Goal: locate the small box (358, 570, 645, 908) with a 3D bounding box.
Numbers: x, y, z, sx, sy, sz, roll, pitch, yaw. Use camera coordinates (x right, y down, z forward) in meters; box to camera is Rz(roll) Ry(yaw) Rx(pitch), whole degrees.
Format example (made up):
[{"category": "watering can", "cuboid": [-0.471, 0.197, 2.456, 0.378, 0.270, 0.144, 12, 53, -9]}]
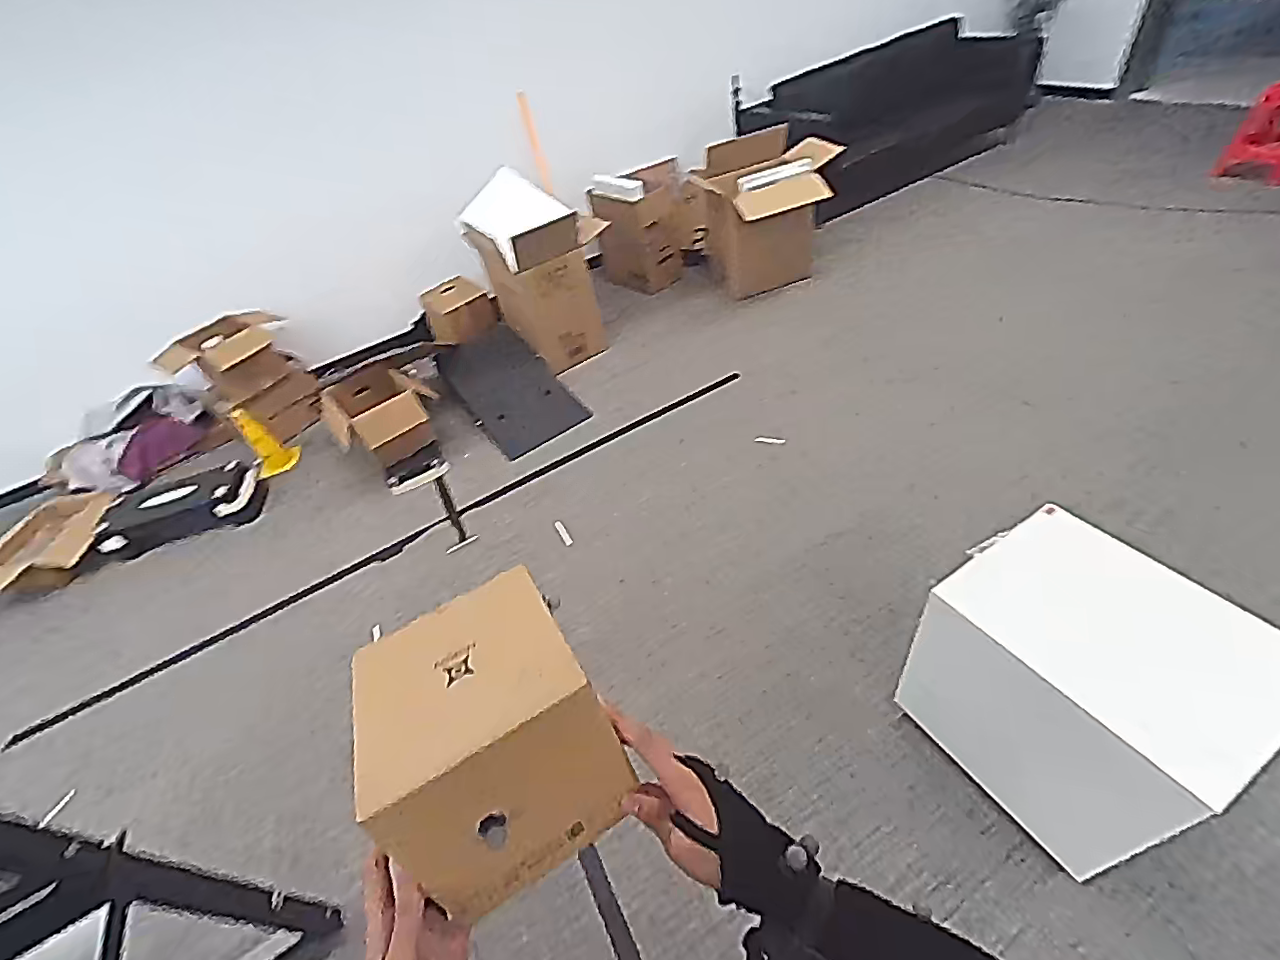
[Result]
[{"category": "small box", "cuboid": [-0.116, 0.217, 0.464, 0.168, 0.176, 0.179, -27, 31, -16]}]
